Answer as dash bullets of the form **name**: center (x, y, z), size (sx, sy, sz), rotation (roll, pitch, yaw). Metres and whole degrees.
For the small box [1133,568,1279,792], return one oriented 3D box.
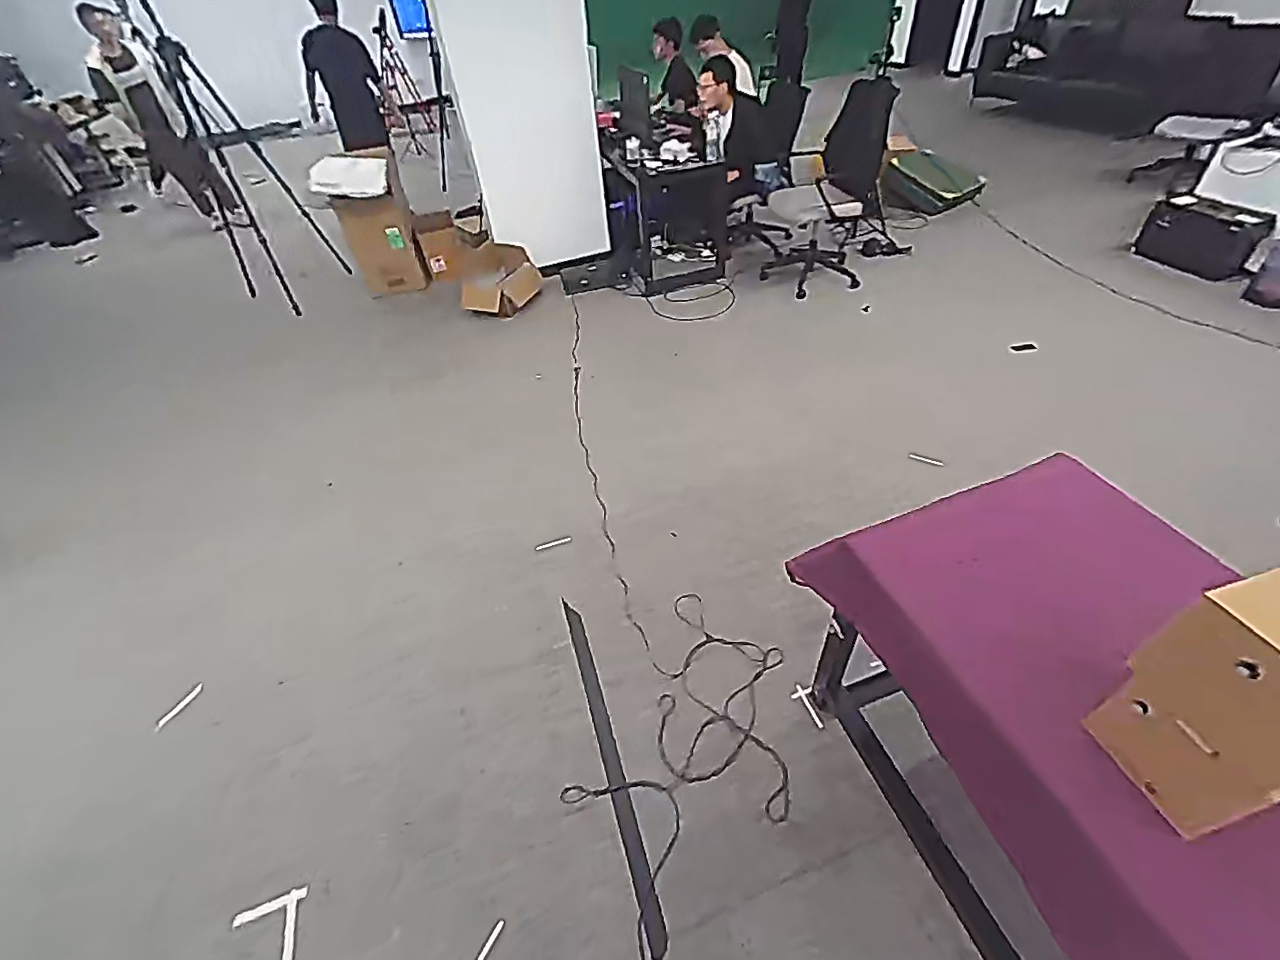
- **small box**: center (0.756, 0.228, 0.635), size (0.168, 0.176, 0.179), rotation (-14, 44, -8)
